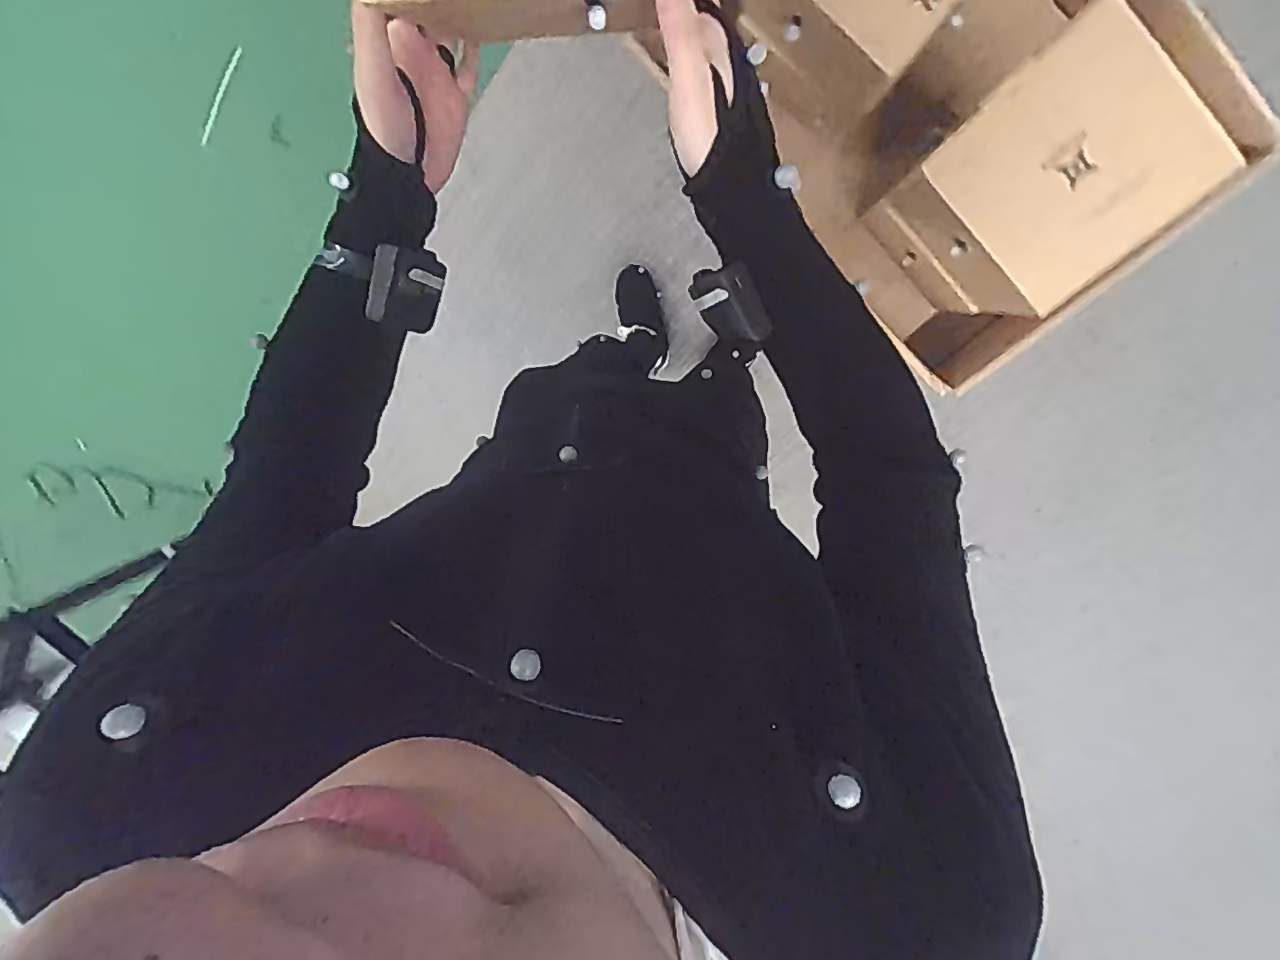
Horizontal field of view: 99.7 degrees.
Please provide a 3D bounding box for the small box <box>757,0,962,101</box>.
[{"bbox_3d":[0.213,-0.481,0.476,0.179,0.176,0.168,41,115,-5],"label":"small box"}]

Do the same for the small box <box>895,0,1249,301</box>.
[{"bbox_3d":[0.373,-0.291,0.511,0.168,0.176,0.179,-40,97,24],"label":"small box"}]

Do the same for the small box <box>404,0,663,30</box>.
[{"bbox_3d":[-0.074,-0.386,0.318,0.179,0.176,0.168,2,124,8],"label":"small box"}]
